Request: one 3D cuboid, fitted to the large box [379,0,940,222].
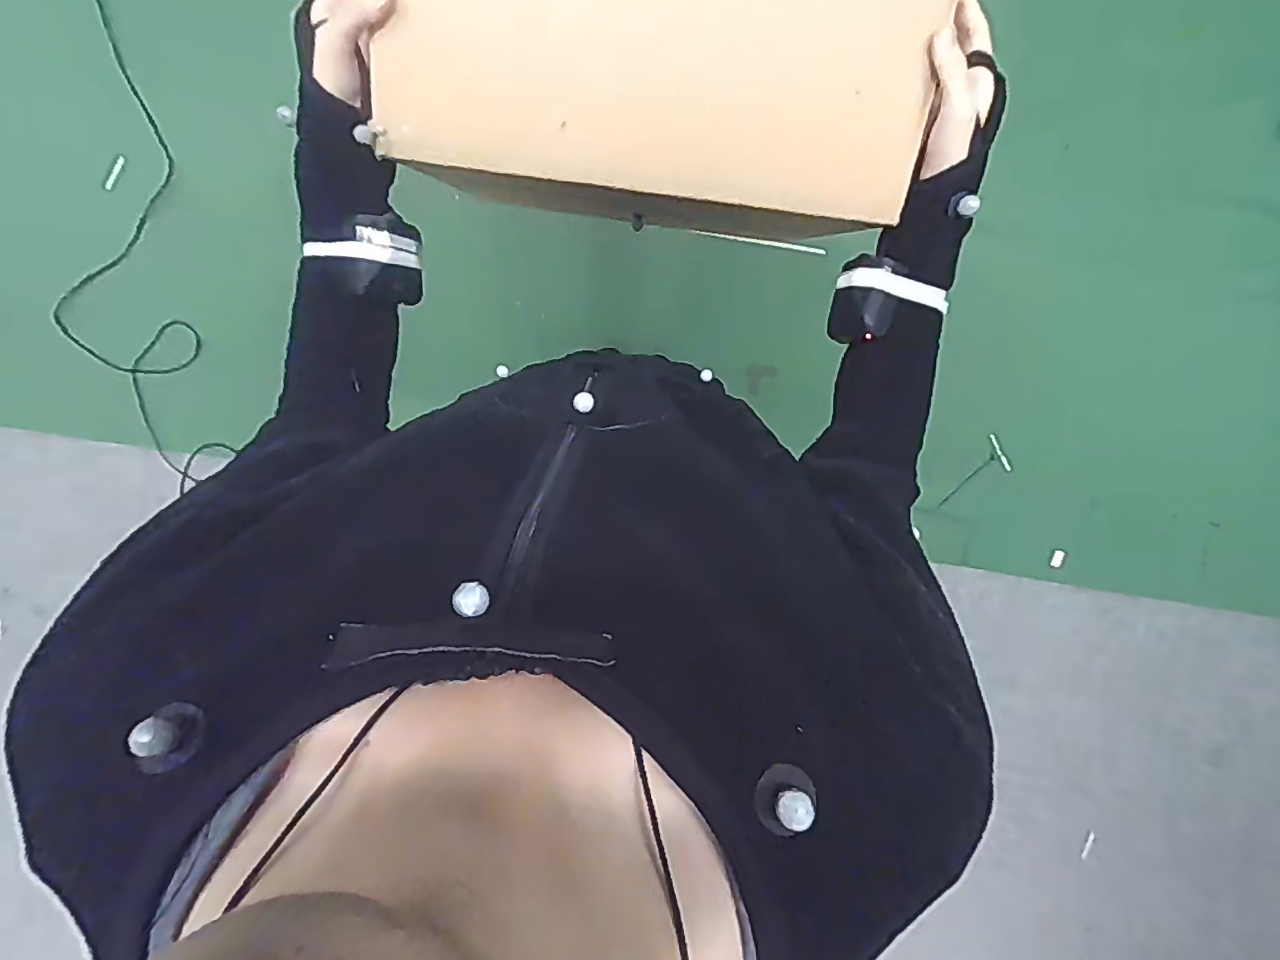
[{"bbox_3d":[0.018,-0.431,0.504,0.408,0.320,0.320,5,112,-4],"label":"large box"}]
